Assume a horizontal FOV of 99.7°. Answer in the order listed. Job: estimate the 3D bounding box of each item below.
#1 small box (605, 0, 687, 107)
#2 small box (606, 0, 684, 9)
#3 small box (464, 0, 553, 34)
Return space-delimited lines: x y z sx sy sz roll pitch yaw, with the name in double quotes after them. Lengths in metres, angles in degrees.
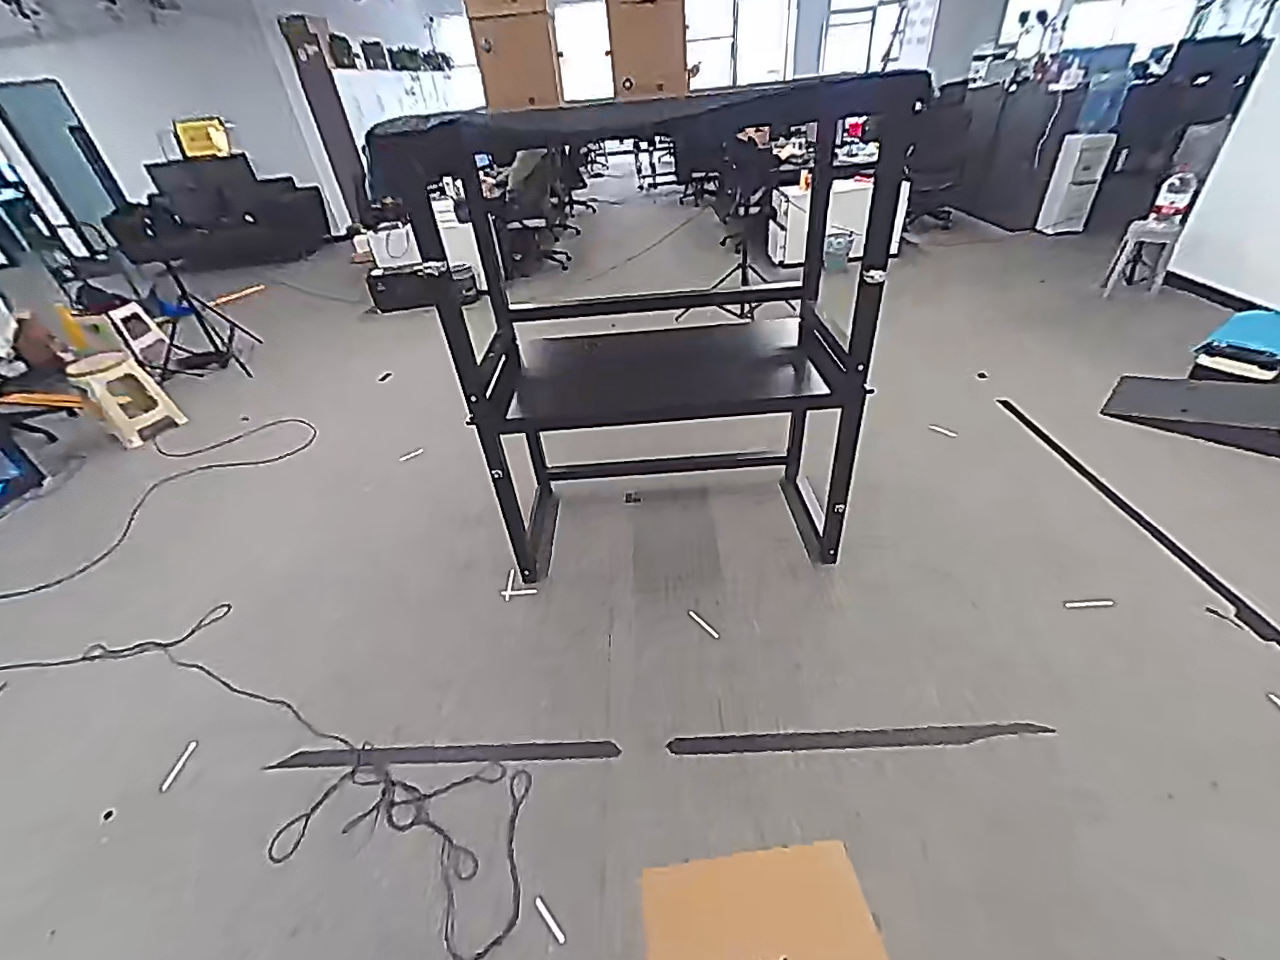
0.016 -0.952 1.217 0.168 0.176 0.179 -4 34 2 "small box"
0.004 -1.086 1.126 0.168 0.176 0.179 -4 36 3 "small box"
-0.283 -1.059 1.131 0.168 0.176 0.179 -4 34 2 "small box"
